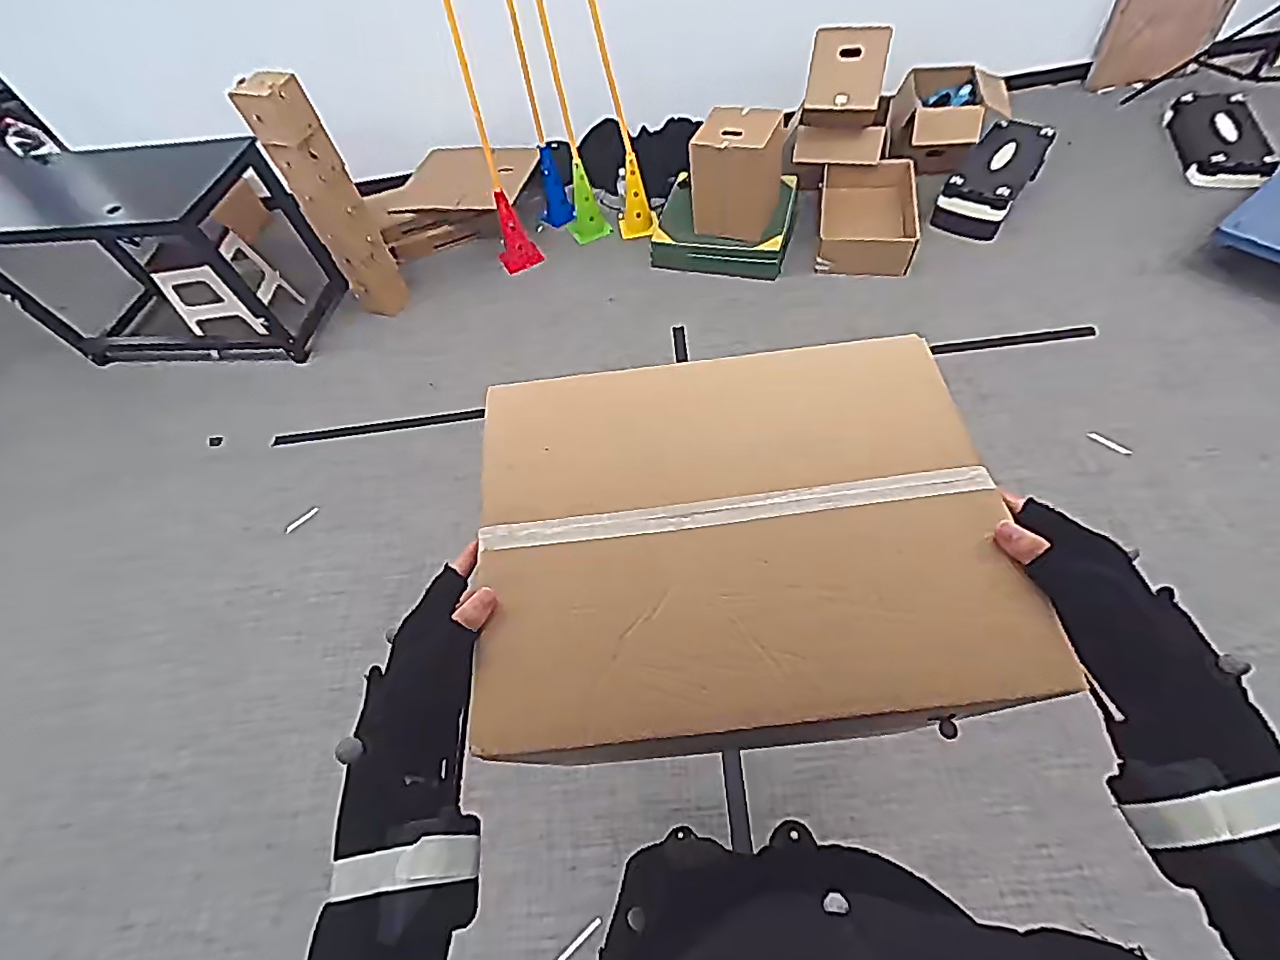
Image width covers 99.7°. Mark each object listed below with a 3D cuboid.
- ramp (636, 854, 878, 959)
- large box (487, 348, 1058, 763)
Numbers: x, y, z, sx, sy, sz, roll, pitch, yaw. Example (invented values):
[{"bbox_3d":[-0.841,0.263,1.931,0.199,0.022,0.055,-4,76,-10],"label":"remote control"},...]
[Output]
[{"bbox_3d":[0.273,1.300,0.998,0.509,0.206,0.991,-8,57,2],"label":"ramp"},{"bbox_3d":[0.088,0.104,0.570,0.408,0.320,0.320,-7,60,1],"label":"large box"}]
